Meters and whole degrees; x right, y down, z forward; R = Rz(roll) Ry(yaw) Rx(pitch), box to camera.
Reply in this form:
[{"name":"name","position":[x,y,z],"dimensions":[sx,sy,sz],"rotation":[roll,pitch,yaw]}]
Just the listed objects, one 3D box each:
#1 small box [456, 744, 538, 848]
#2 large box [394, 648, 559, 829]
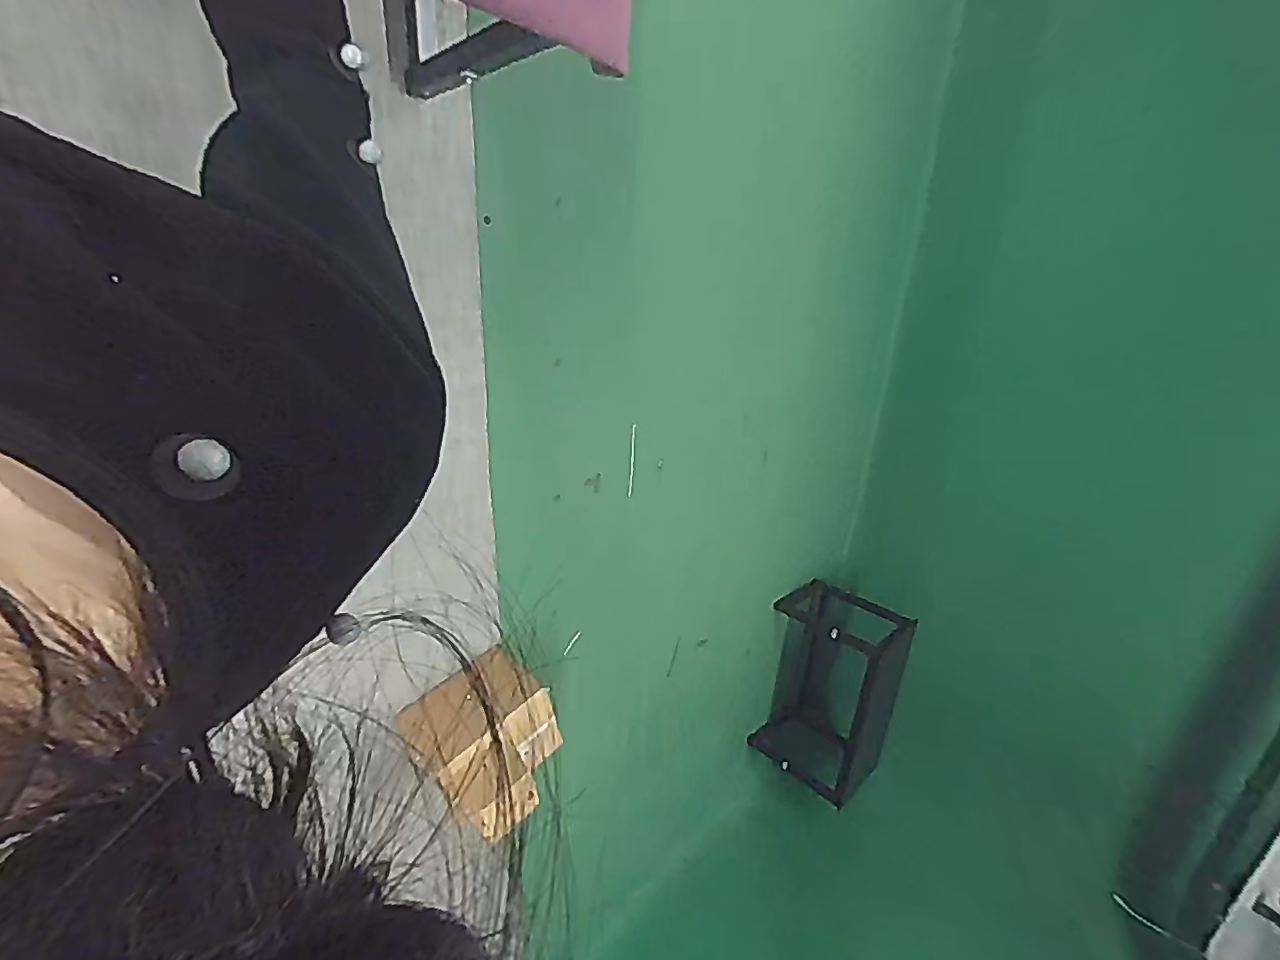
[{"name":"small box","position":[-0.444,0.961,1.658],"dimensions":[0.179,0.176,0.168],"rotation":[-27,124,-37]},{"name":"large box","position":[-0.556,0.874,1.877],"dimensions":[0.408,0.320,0.320],"rotation":[-33,128,-36]}]
